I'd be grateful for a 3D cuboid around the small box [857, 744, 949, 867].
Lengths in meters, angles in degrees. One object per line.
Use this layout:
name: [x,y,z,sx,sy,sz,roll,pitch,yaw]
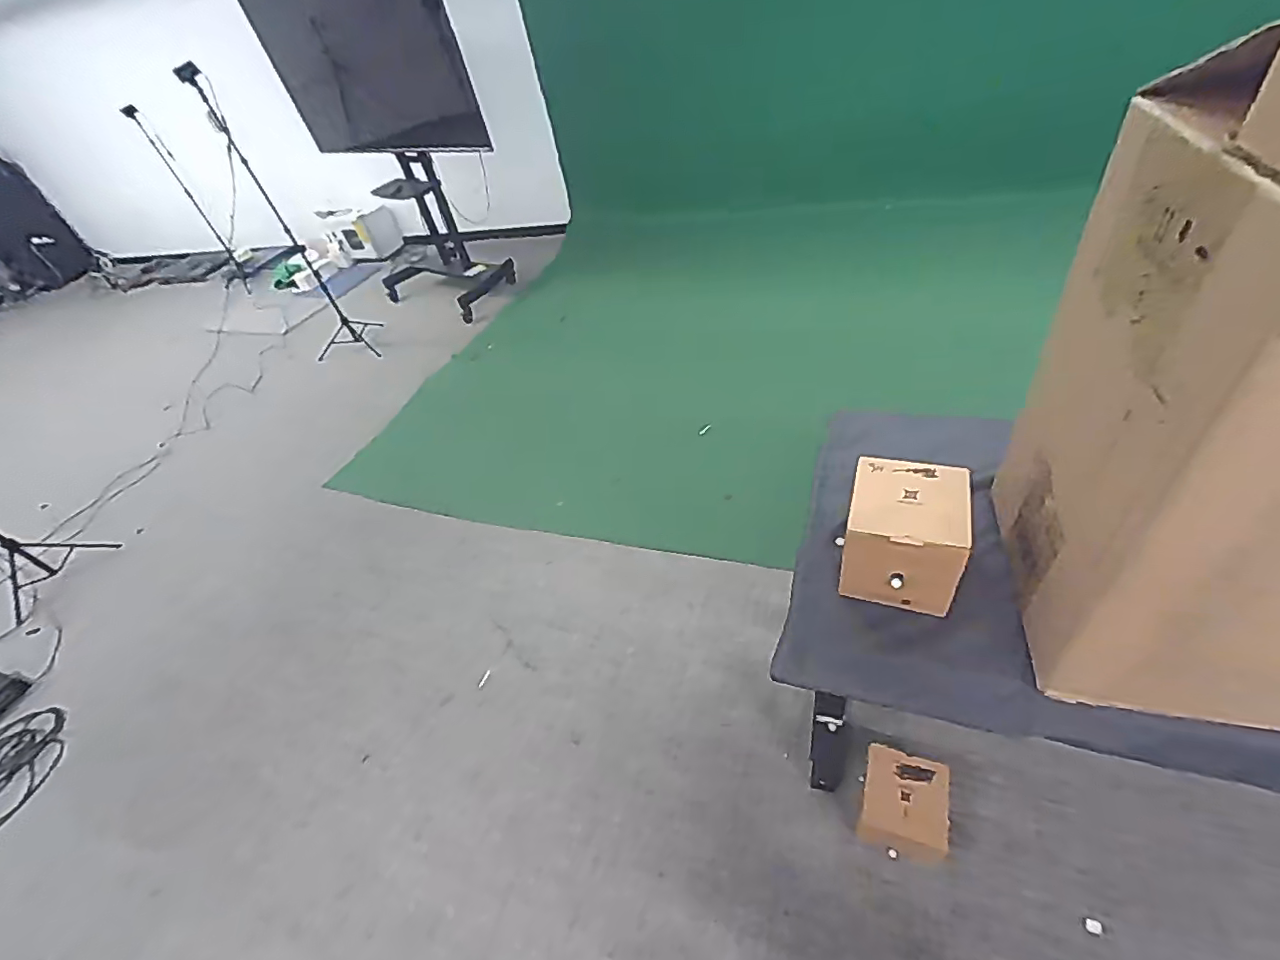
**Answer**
small box: [0.599,0.748,1.242,0.168,0.176,0.179,8,49,24]
